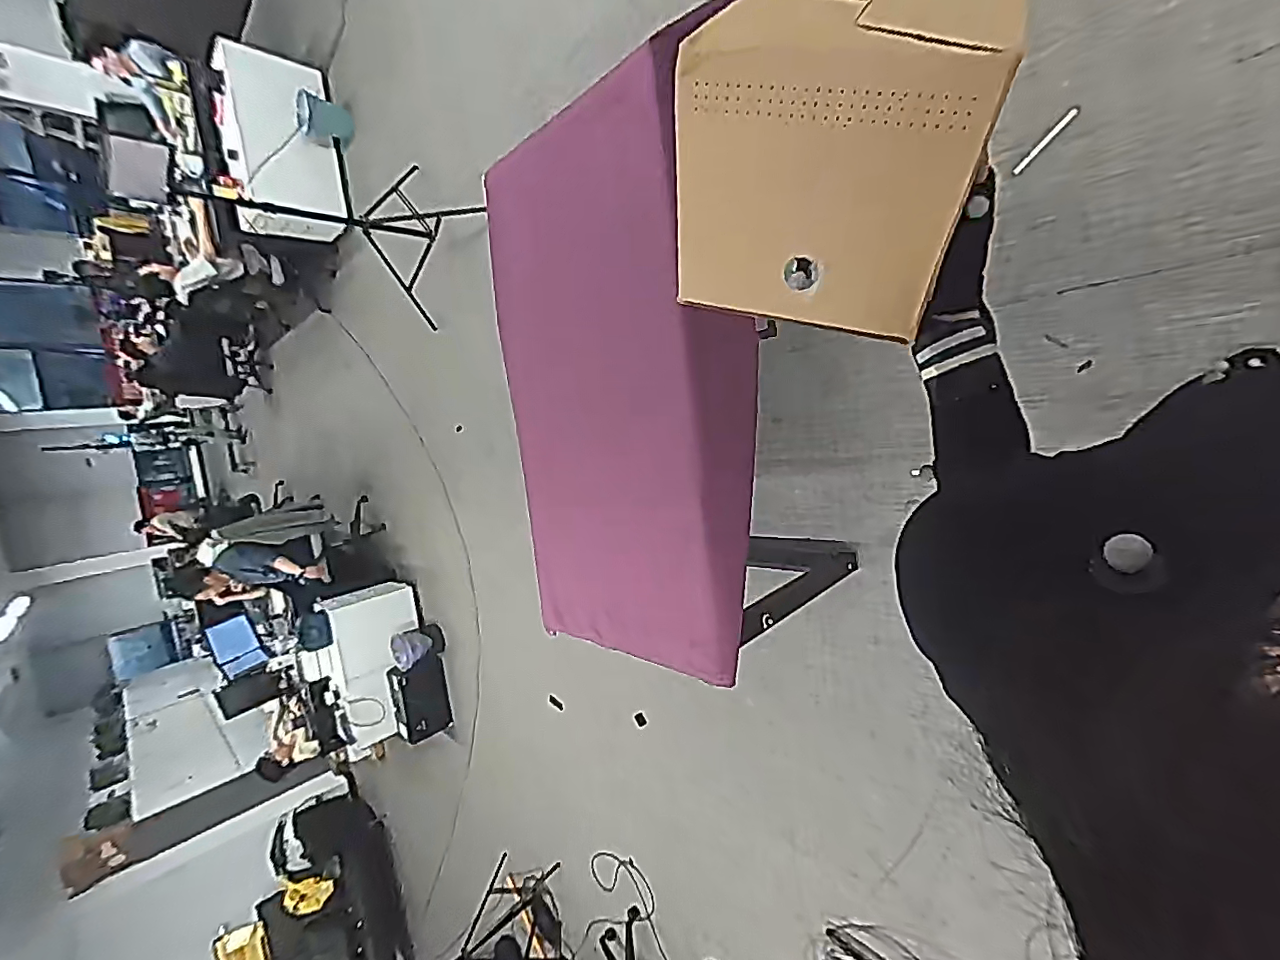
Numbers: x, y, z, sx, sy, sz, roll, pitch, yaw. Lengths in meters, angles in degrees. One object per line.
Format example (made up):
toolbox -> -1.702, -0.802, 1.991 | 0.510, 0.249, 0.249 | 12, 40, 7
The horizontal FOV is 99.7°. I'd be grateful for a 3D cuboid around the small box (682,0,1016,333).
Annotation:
small box -> 0.138, -0.235, 0.381 | 0.179, 0.168, 0.176 | 18, 144, 20
